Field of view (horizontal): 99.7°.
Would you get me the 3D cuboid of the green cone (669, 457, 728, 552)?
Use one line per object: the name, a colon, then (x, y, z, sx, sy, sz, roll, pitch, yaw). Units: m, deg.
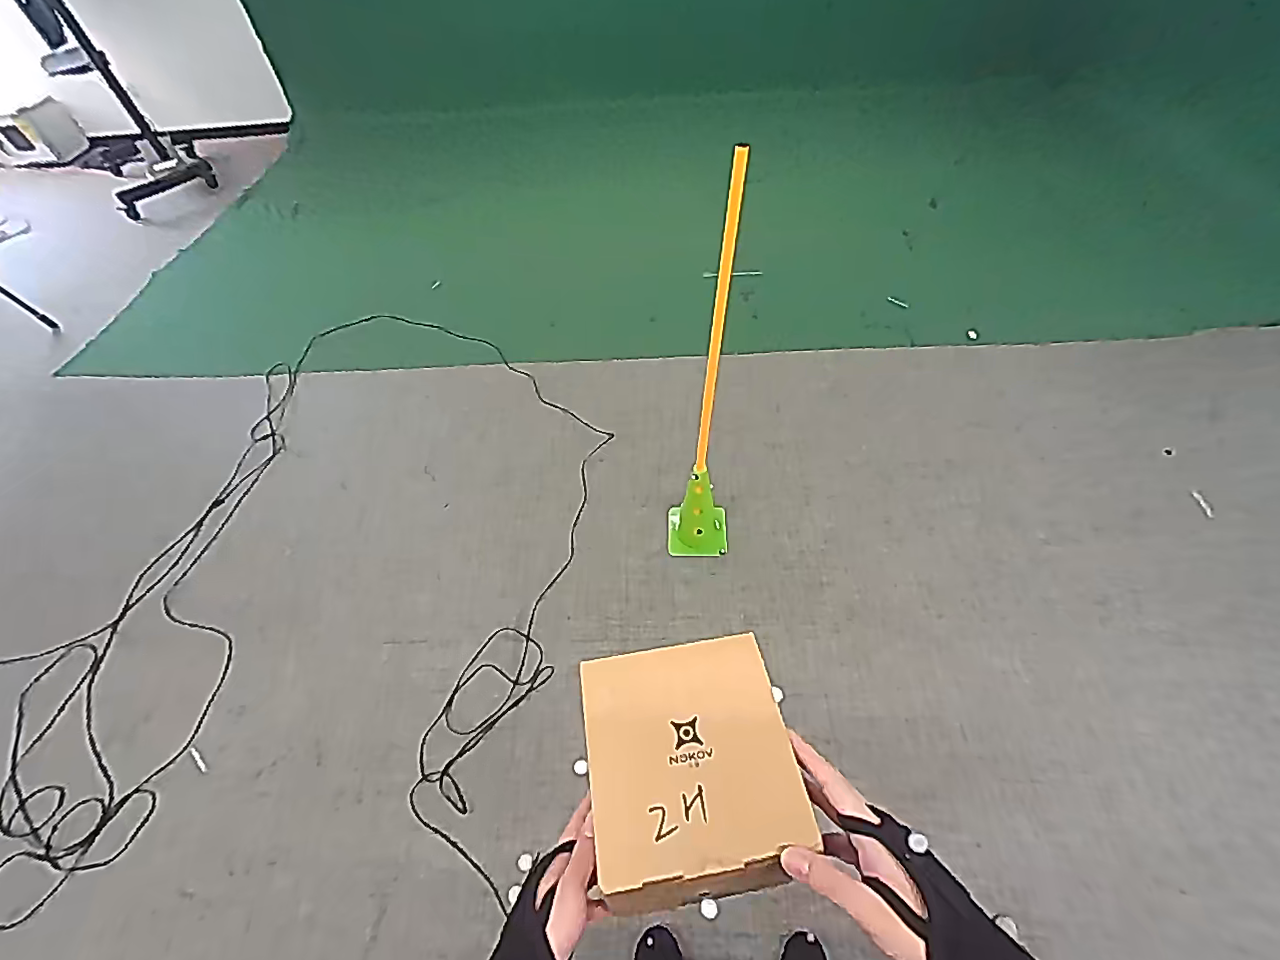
green cone: (0.186, 0.055, 1.731, 0.202, 0.368, 0.200, -1, 51, 5)
